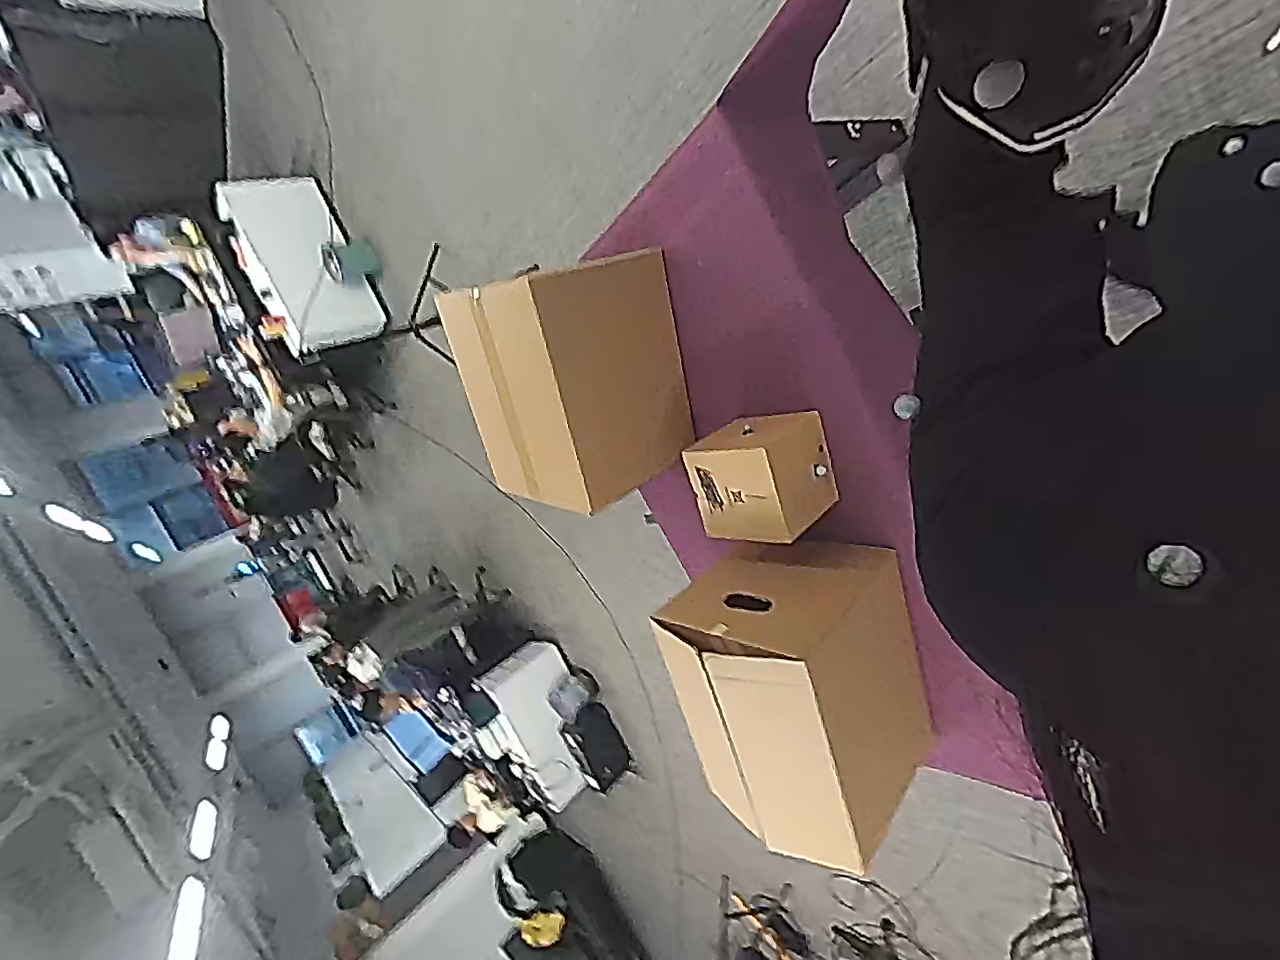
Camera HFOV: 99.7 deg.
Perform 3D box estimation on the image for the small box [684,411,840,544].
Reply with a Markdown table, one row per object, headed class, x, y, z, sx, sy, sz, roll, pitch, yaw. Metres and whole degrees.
| class | x | y | z | sx | sy | sz | roll | pitch | yaw |
| --- | --- | --- | --- | --- | --- | --- | --- | --- | --- |
| small box | 0.210 | -0.009 | 0.922 | 0.179 | 0.176 | 0.168 | -1 | 114 | 49 |
